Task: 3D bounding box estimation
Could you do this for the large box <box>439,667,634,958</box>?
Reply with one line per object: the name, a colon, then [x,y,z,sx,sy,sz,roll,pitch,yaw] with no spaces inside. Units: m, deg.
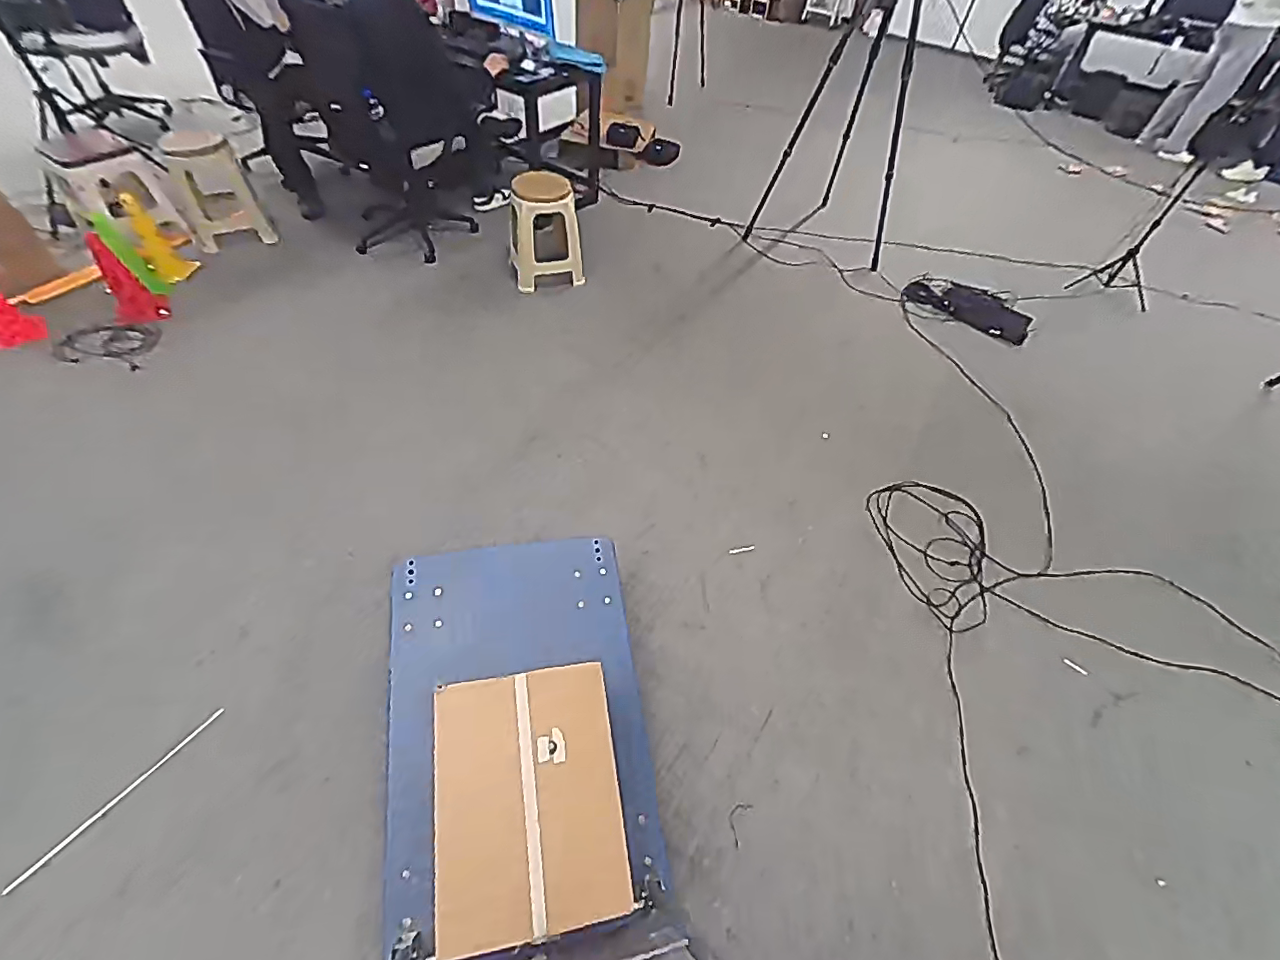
large box: [-0.213,0.628,1.085,0.320,0.320,0.408,-4,63,-13]
